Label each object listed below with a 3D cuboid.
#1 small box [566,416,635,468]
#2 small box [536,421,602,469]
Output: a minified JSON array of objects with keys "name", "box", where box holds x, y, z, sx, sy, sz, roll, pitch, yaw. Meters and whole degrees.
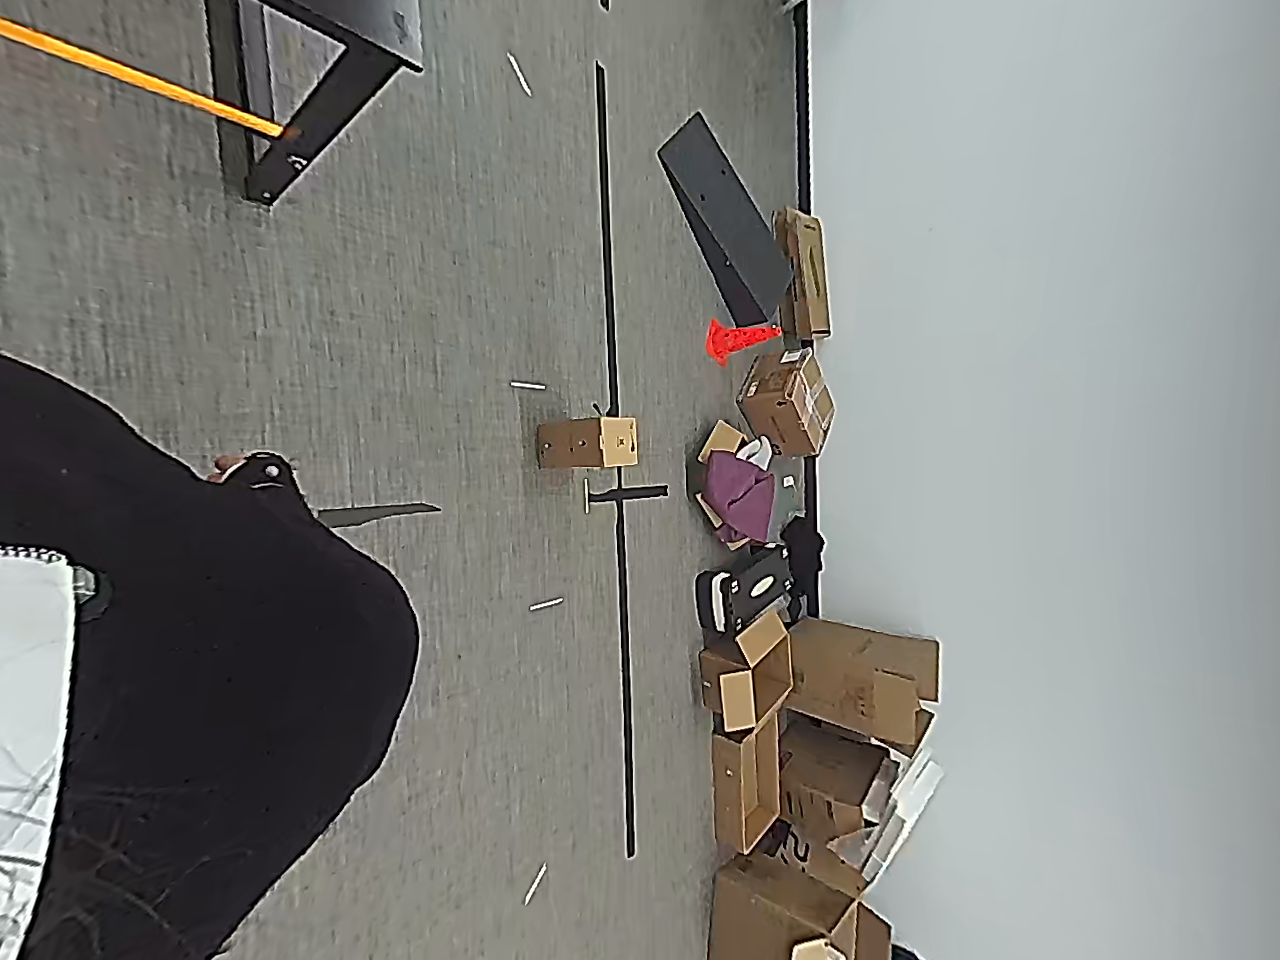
[{"name":"small box","box":[-0.140,-0.129,1.856,0.179,0.176,0.168,-6,94,-49]},{"name":"small box","box":[-0.258,-0.124,1.971,0.179,0.176,0.168,-3,92,-50]}]
